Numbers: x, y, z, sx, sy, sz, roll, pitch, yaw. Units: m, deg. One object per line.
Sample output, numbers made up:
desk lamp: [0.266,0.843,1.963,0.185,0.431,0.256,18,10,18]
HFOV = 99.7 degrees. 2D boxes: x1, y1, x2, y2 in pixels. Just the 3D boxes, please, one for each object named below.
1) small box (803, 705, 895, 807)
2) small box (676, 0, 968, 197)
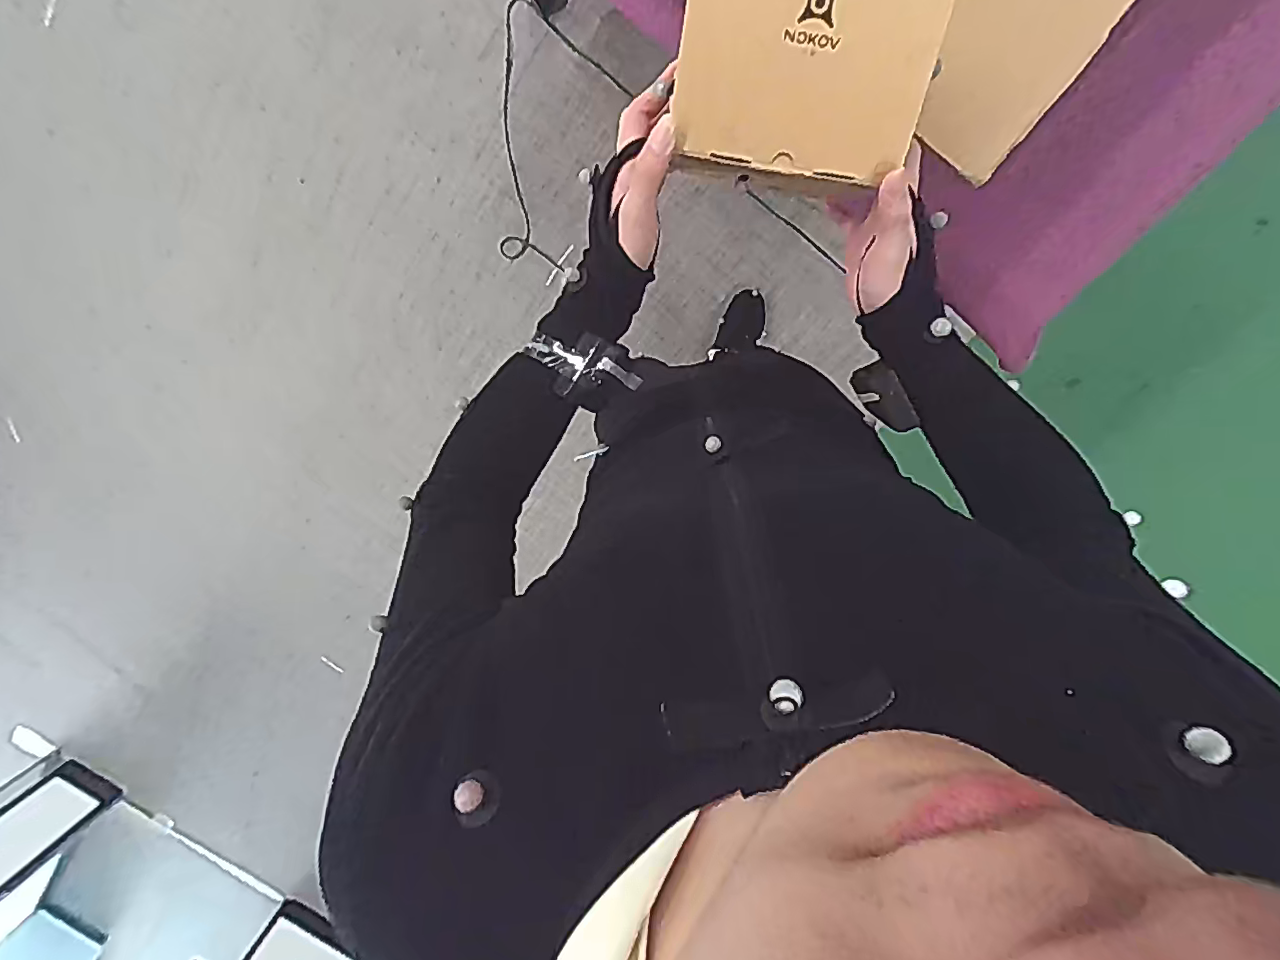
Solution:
small box: [0.608,0.808,1.594,0.179,0.176,0.168,40,109,-6]
small box: [0.121,-0.326,0.410,0.168,0.176,0.179,9,117,-2]
